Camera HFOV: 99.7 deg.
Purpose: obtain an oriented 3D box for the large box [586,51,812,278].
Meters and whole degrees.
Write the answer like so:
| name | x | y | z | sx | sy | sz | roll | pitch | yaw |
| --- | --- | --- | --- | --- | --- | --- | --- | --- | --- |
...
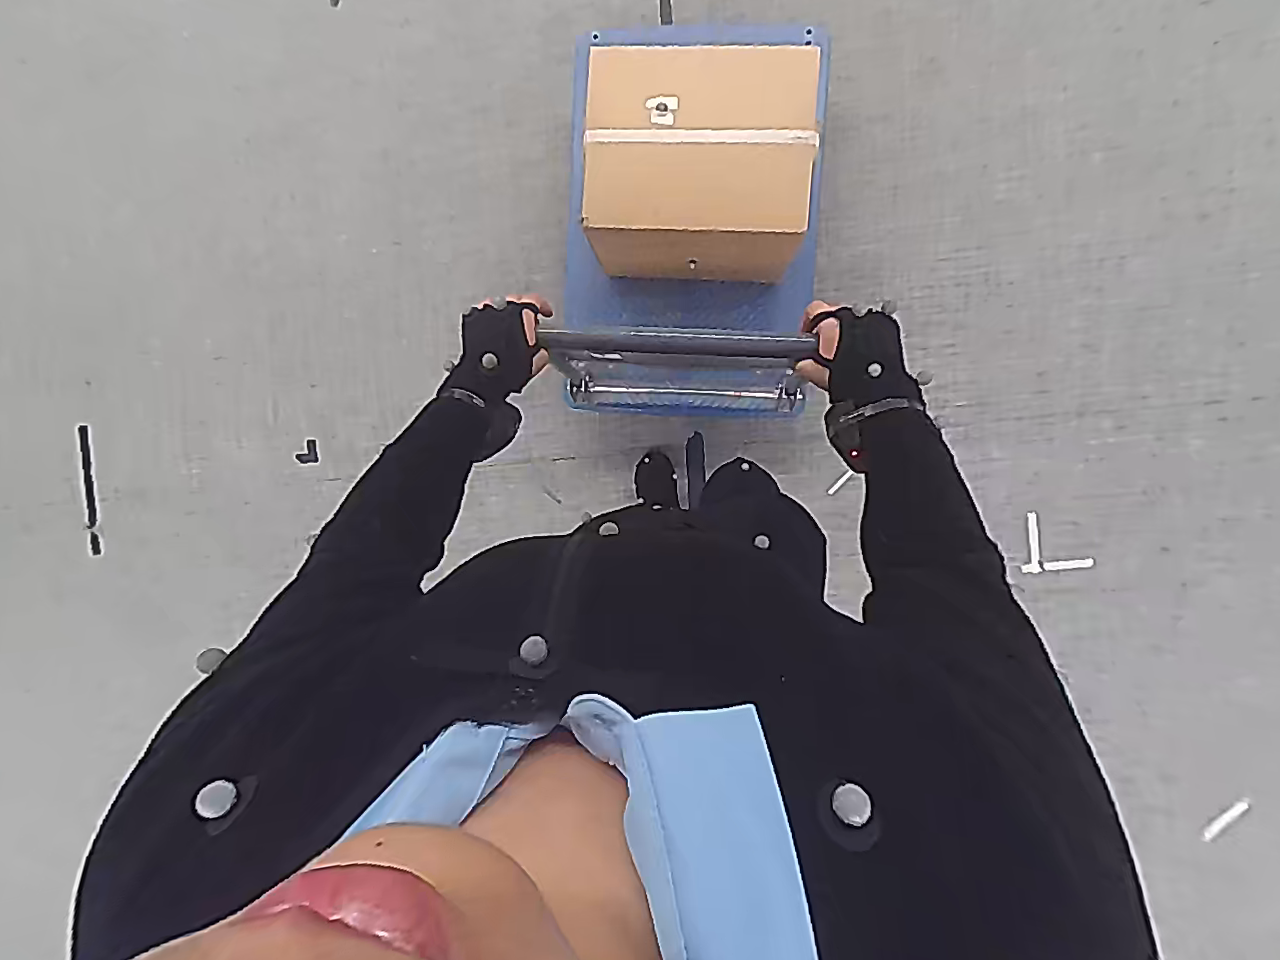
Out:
| name | x | y | z | sx | sy | sz | roll | pitch | yaw |
| --- | --- | --- | --- | --- | --- | --- | --- | --- | --- |
| large box | 0.118 | -0.619 | 1.125 | 0.408 | 0.320 | 0.320 | 3 | 94 | 6 |
